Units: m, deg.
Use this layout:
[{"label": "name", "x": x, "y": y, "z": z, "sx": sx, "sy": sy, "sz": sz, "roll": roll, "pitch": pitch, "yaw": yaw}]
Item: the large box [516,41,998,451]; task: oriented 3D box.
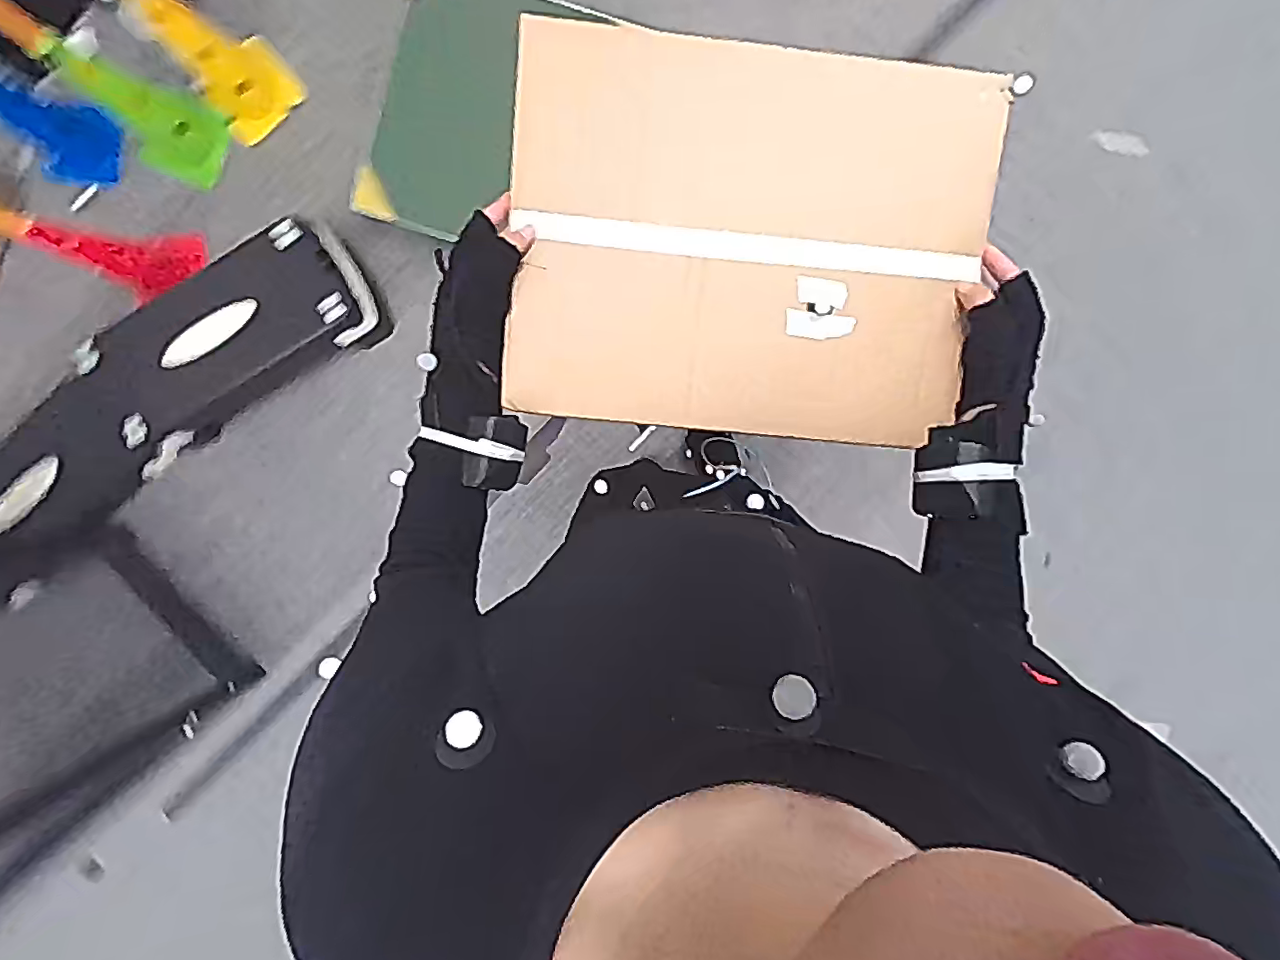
[{"label": "large box", "x": 0.091, "y": -0.218, "z": 0.624, "sx": 0.408, "sy": 0.320, "sz": 0.320, "roll": 6, "pitch": 100, "yaw": -3}]
